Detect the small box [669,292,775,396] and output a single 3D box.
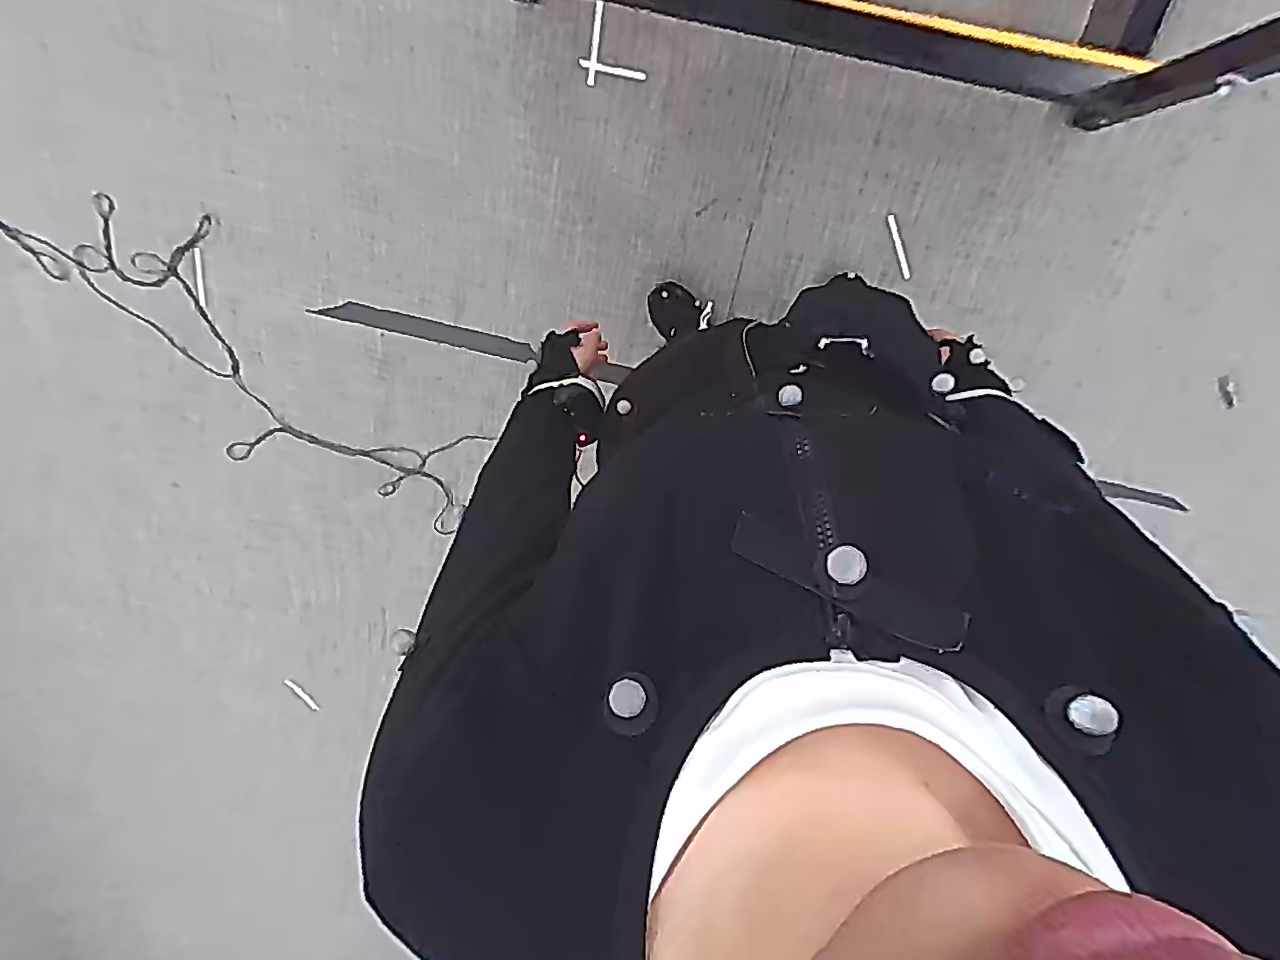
[{"bbox_3d":[0.174,-0.297,1.184,0.179,0.176,0.168,-27,105,13],"label":"small box"}]
